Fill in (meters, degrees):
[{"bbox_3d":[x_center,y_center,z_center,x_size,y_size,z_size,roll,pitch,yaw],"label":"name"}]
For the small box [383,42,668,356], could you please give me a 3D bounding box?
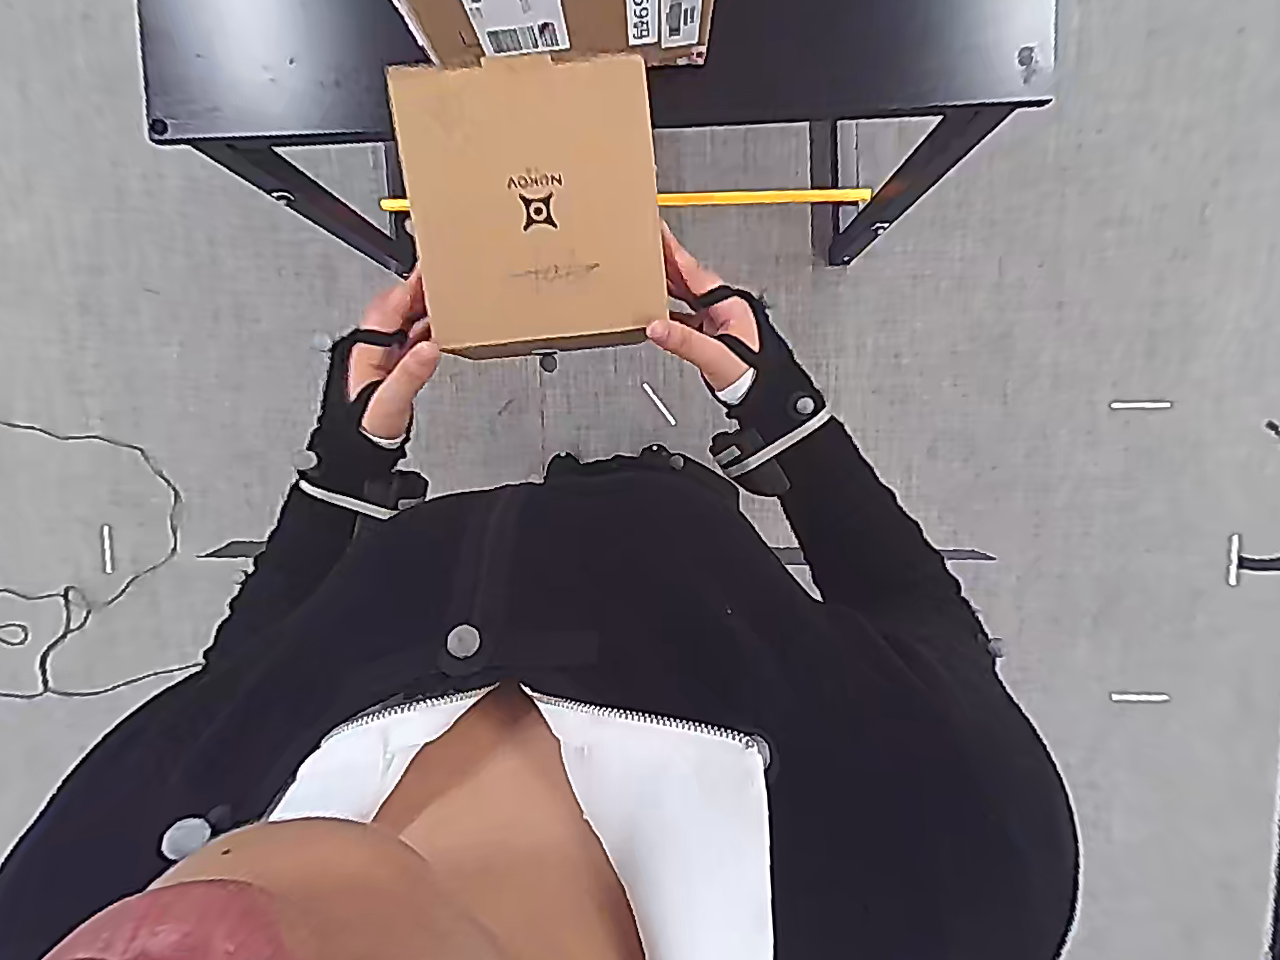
[{"bbox_3d":[-0.079,-0.199,0.429,0.168,0.176,0.179,-8,101,-6],"label":"small box"}]
